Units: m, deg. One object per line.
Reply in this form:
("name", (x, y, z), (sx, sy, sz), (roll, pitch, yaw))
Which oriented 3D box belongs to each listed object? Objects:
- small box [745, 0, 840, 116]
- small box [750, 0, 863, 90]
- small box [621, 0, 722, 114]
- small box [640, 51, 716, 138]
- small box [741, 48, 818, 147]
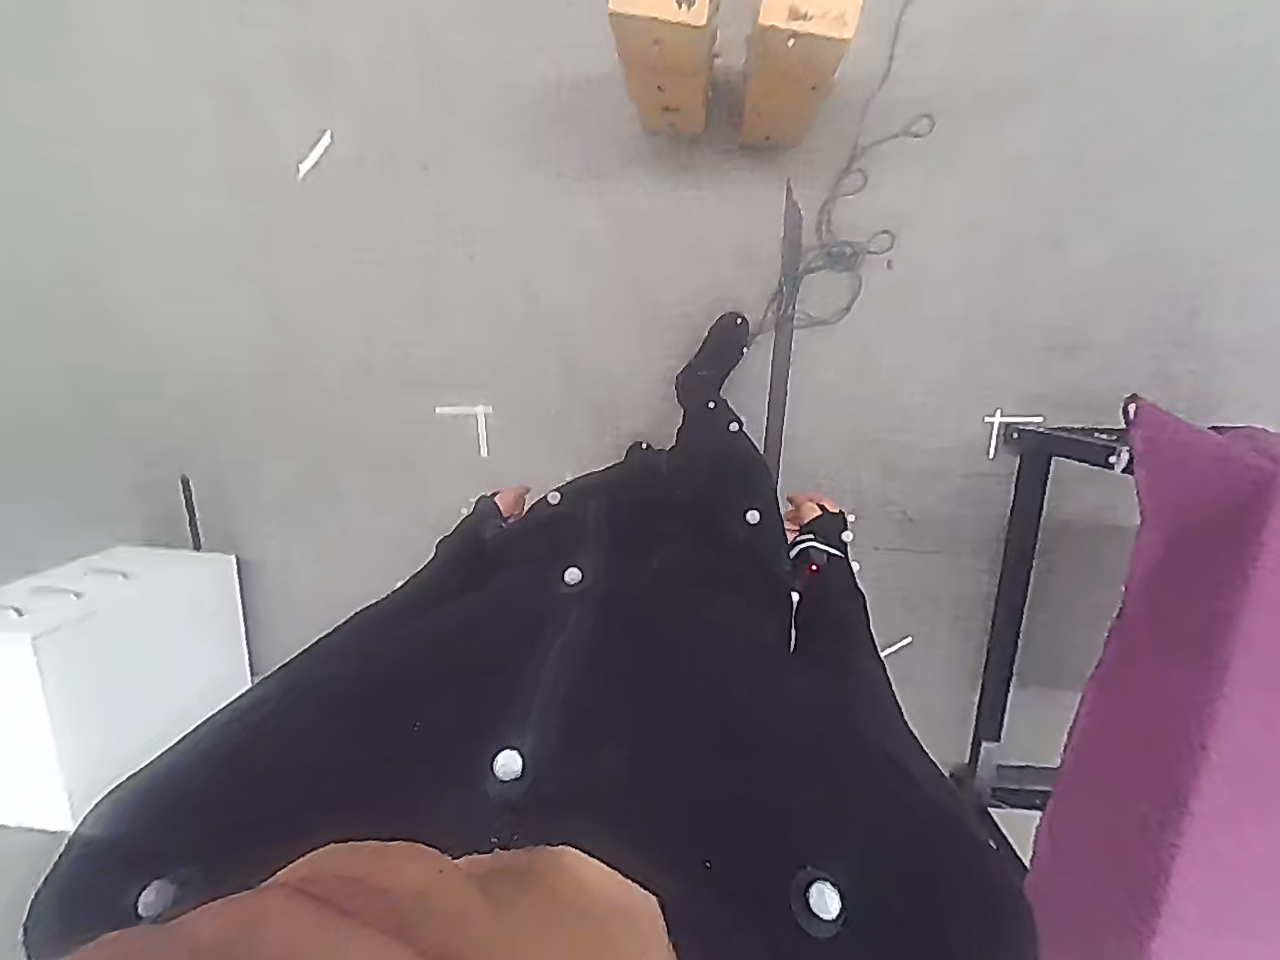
("small box", (0.320, -0.891, 1.134), (0.179, 0.176, 0.168), (5, 103, 4))
("small box", (0.303, -0.854, 0.975), (0.168, 0.176, 0.179), (12, 102, 3))
("small box", (0.068, -0.911, 1.147), (0.179, 0.176, 0.168), (12, 103, 3))
("small box", (0.090, -0.961, 1.303), (0.168, 0.176, 0.179), (8, 103, 4))
("small box", (0.334, -0.927, 1.291), (0.168, 0.176, 0.179), (3, 103, 5))
